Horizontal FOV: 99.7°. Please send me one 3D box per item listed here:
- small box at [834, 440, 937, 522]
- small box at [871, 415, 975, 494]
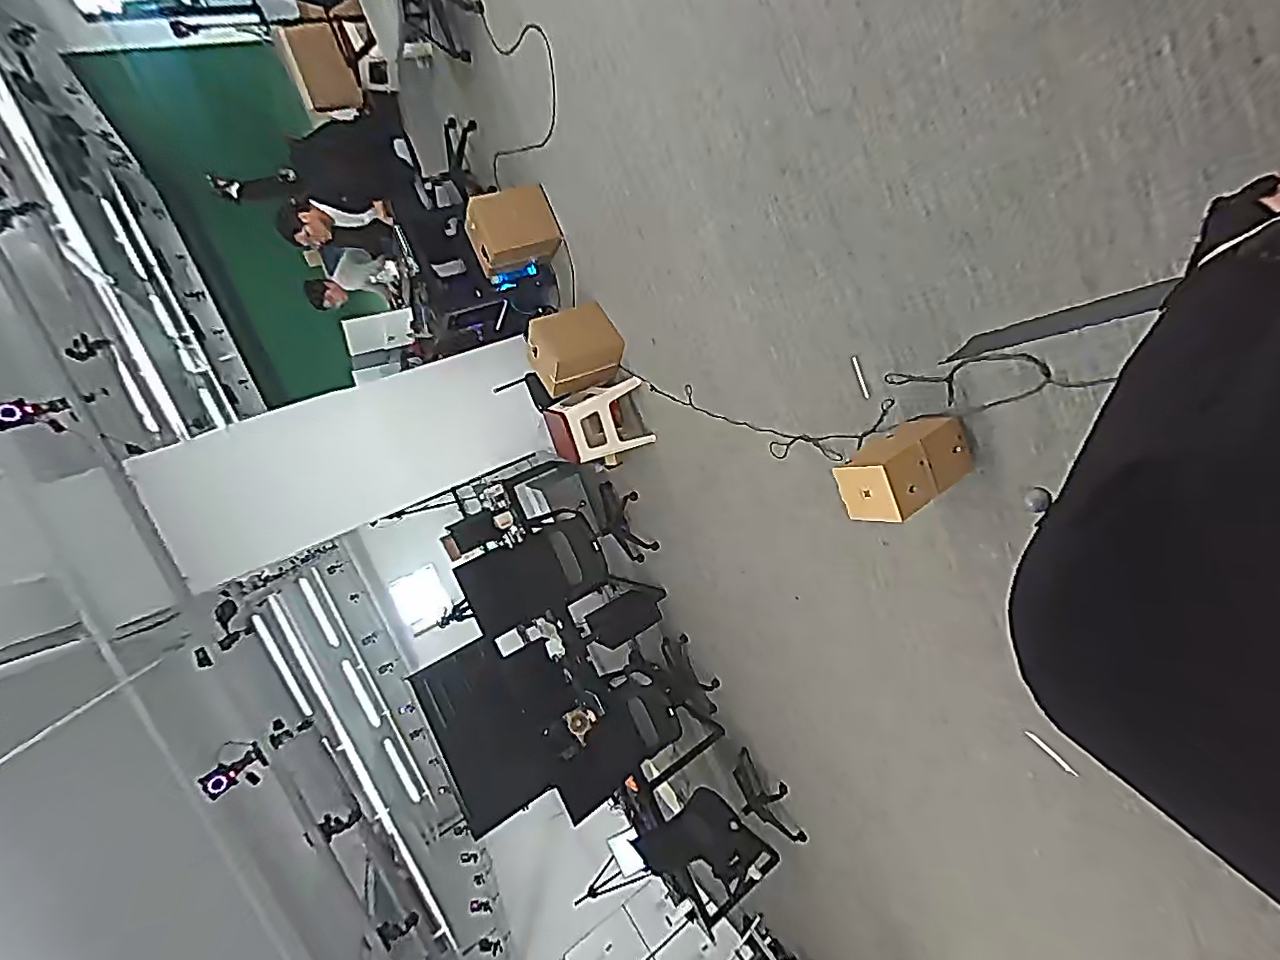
[{"bbox_3d":[0.671,0.002,1.467,0.179,0.176,0.168,-4,113,65],"label":"small box"},{"bbox_3d":[0.802,-0.070,1.531,0.179,0.176,0.168,-4,113,64],"label":"small box"}]
